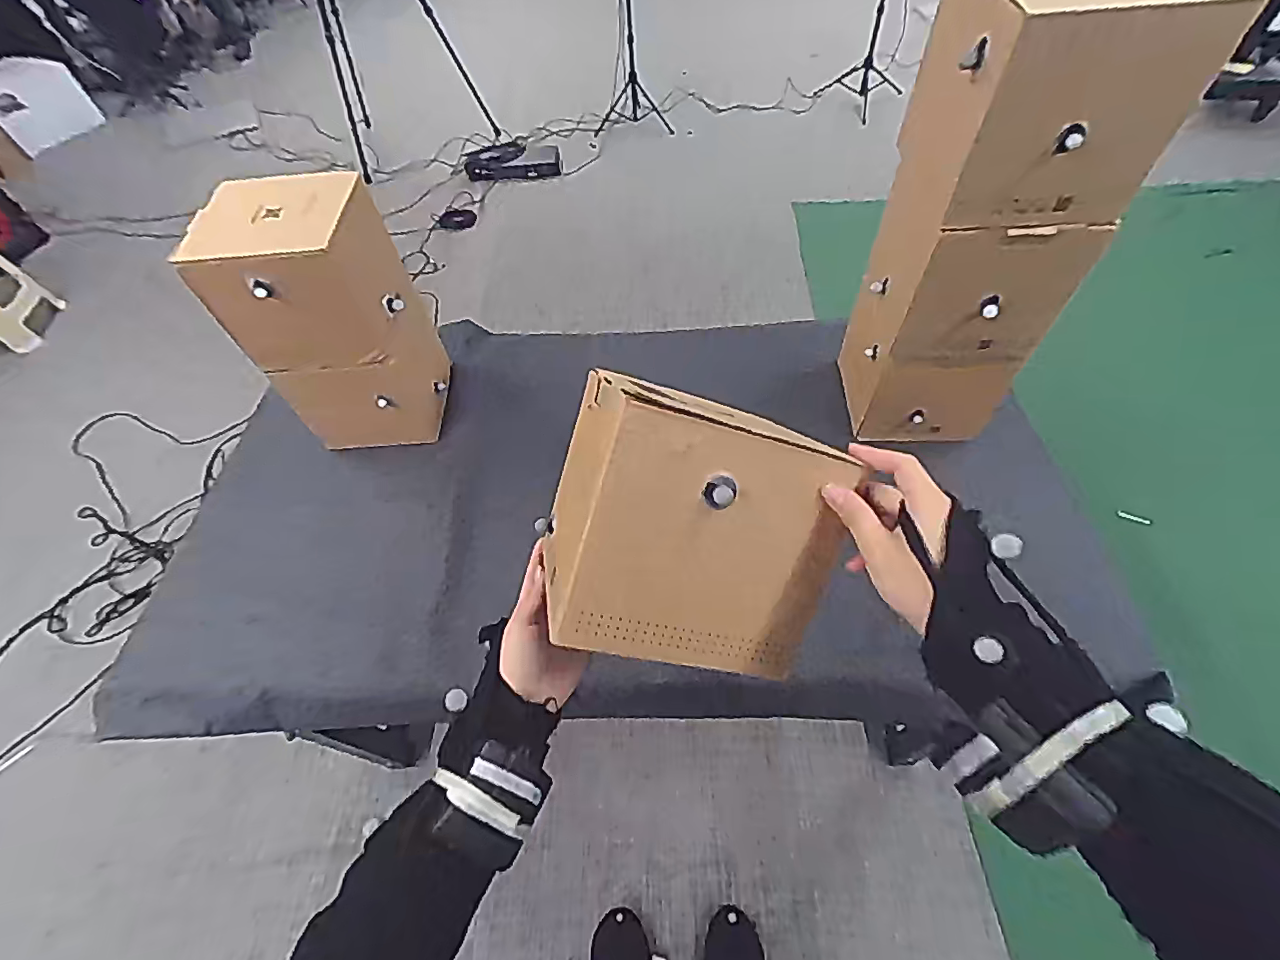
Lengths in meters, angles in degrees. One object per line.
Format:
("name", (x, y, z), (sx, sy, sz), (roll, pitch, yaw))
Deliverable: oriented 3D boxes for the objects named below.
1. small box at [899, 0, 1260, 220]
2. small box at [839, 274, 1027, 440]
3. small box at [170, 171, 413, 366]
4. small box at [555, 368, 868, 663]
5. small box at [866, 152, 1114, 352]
("small box", (0.364, -0.359, 0.497), (0.168, 0.176, 0.179), (-1, 56, 3))
("small box", (0.395, -0.177, 0.770), (0.168, 0.176, 0.179), (0, 56, 5))
("small box", (-0.418, -0.261, 0.686), (0.179, 0.176, 0.168), (-4, 57, -1))
("small box", (0.034, 0.021, 0.425), (0.179, 0.176, 0.168), (14, 13, -15))
("small box", (0.382, -0.266, 0.632), (0.168, 0.176, 0.179), (1, 57, 5))
